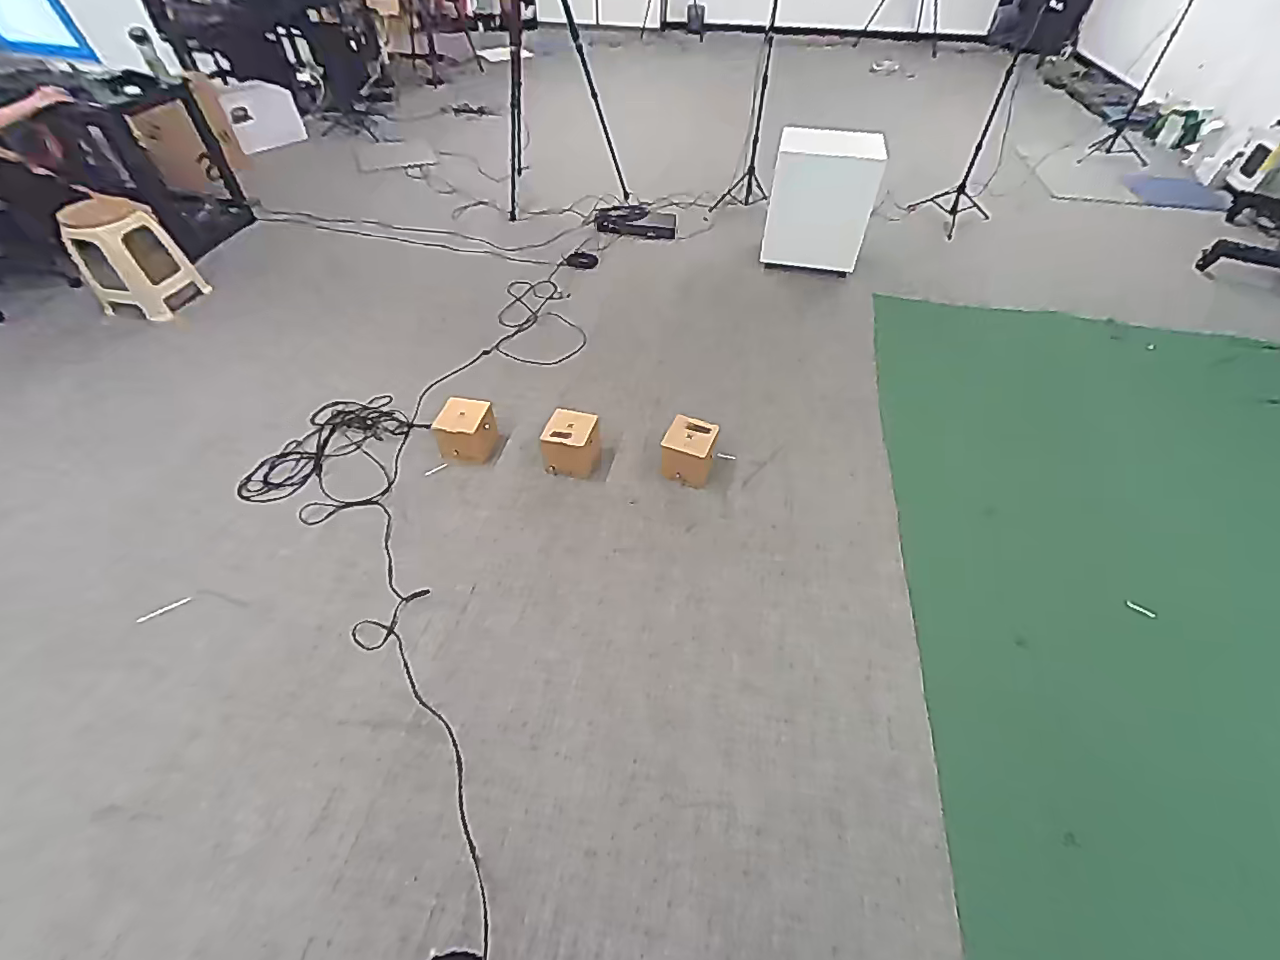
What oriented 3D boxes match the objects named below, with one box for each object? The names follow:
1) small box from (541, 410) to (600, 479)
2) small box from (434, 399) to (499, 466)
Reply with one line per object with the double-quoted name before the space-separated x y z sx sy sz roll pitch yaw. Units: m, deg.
"small box" -0.249 -0.129 1.997 0.168 0.176 0.179 11 49 10
"small box" -0.646 -0.179 2.043 0.168 0.176 0.179 7 49 7
